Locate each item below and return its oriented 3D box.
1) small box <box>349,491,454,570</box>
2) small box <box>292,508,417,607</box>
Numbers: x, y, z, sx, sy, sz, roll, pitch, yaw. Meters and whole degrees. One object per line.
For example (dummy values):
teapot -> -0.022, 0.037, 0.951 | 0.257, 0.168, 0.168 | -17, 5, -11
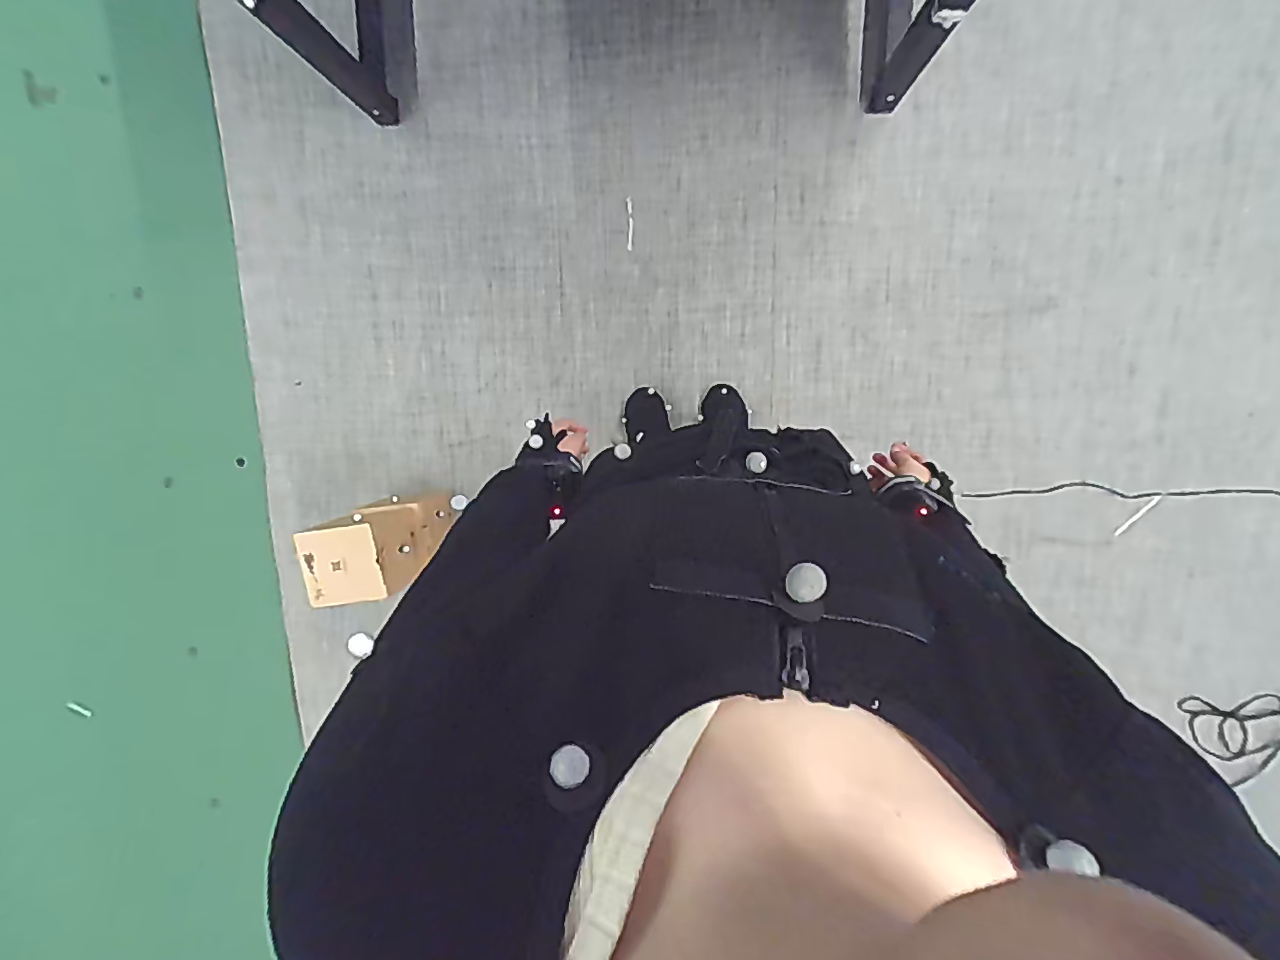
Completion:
small box -> -0.582, 0.127, 1.352 | 0.179, 0.176, 0.168 | -7, 97, 6
small box -> -0.616, 0.164, 1.194 | 0.179, 0.176, 0.168 | -8, 97, 5
